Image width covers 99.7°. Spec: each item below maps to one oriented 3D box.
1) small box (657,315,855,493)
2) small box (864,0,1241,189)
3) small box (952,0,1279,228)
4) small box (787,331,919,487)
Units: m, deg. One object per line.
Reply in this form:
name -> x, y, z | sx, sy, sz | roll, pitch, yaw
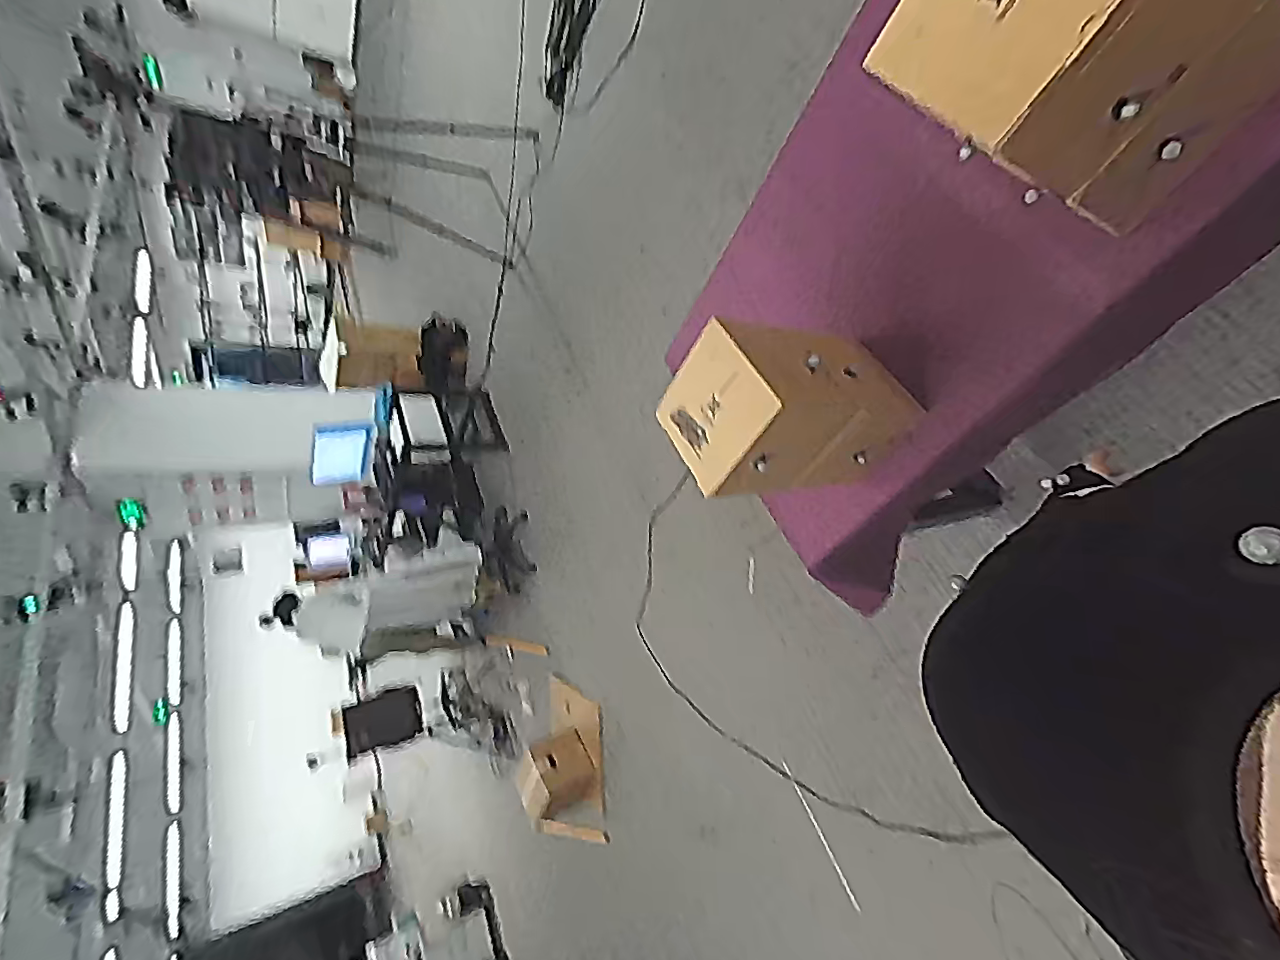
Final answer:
small box -> 0.158, -0.100, 0.754 | 0.179, 0.176, 0.168 | -57, 50, 39
small box -> 0.345, -0.385, 0.469 | 0.168, 0.176, 0.179 | -56, 50, 40
small box -> 0.482, -0.391, 0.558 | 0.168, 0.176, 0.179 | 61, 138, 30
small box -> 0.292, -0.110, 0.850 | 0.168, 0.176, 0.179 | -56, 49, 39
